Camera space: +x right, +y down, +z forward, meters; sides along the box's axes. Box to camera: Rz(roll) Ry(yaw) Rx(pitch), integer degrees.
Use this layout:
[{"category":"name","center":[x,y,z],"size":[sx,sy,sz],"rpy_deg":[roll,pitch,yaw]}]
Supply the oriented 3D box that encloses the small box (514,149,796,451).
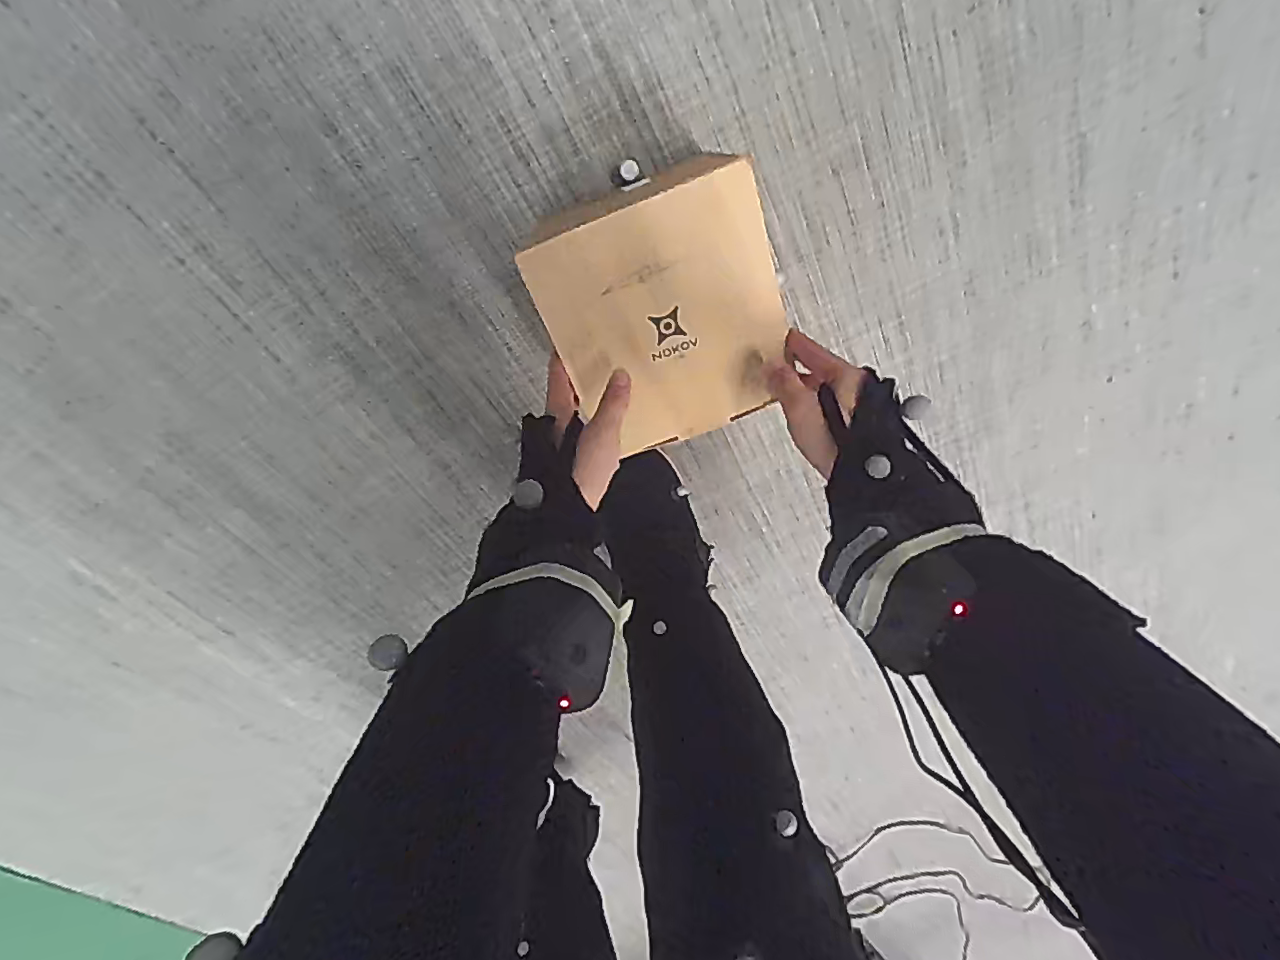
[{"category":"small box","center":[0.015,-0.157,0.456],"size":[0.168,0.176,0.179],"rpy_deg":[-19,120,6]}]
